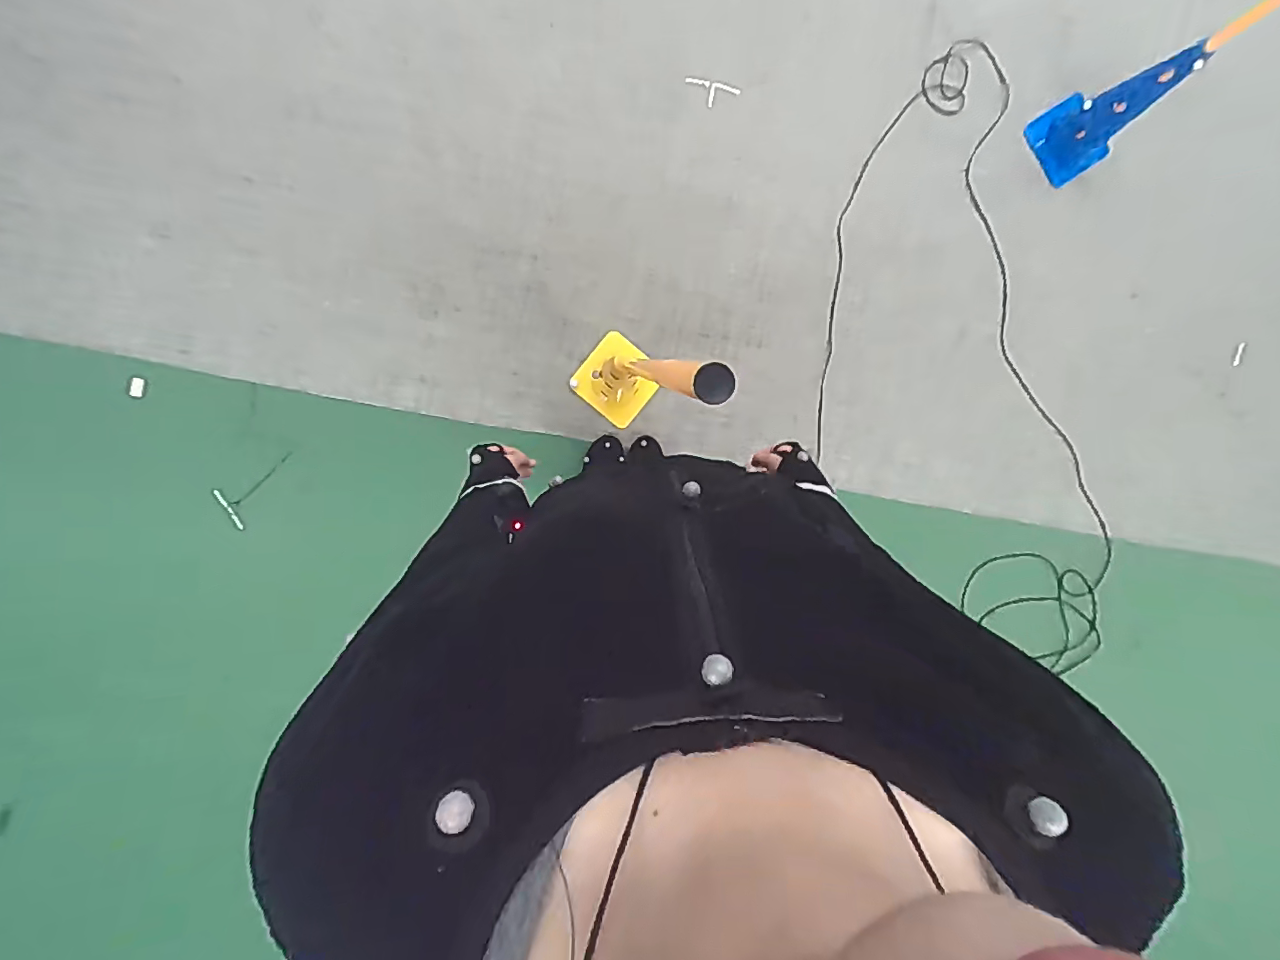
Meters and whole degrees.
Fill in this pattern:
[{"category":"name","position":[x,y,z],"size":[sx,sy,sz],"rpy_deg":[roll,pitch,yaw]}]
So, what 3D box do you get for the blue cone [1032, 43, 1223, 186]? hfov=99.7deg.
[{"category":"blue cone","position":[1.219,-0.941,1.350],"size":[0.193,0.380,0.192],"rpy_deg":[-36,95,-4]}]
